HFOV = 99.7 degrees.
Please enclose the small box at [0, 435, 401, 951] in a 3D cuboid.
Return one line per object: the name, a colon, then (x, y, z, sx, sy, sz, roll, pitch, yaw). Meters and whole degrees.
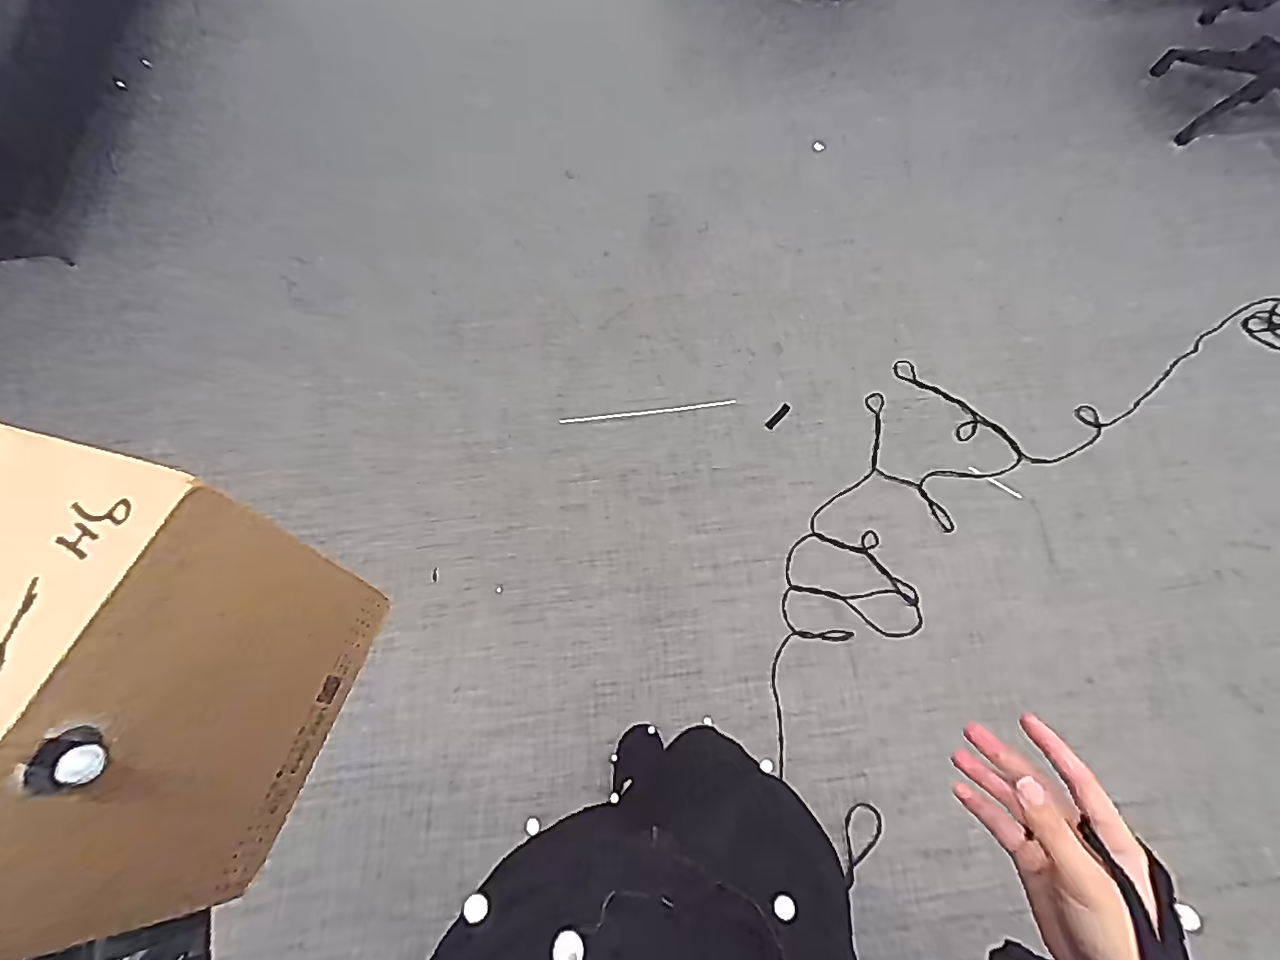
small box: (-0.261, 0.096, 0.265, 0.179, 0.176, 0.168, 11, 64, 11)
